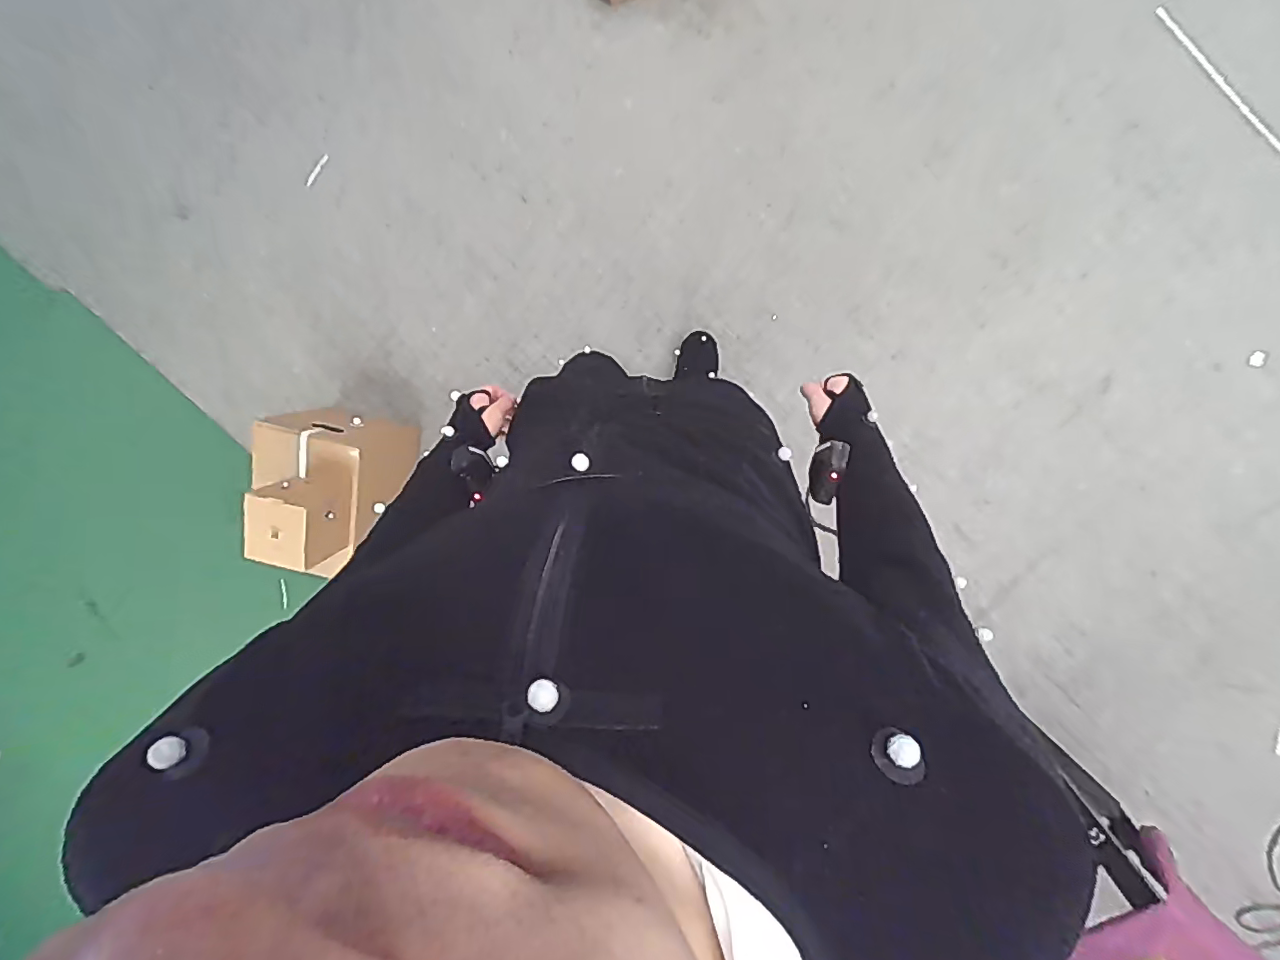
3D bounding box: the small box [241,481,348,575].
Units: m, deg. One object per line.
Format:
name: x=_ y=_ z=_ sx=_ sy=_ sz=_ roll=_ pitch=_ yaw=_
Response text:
small box: x=-0.876 y=0.114 z=1.383 sx=0.168 sy=0.176 sz=0.179 roll=14 pitch=107 yaw=4
